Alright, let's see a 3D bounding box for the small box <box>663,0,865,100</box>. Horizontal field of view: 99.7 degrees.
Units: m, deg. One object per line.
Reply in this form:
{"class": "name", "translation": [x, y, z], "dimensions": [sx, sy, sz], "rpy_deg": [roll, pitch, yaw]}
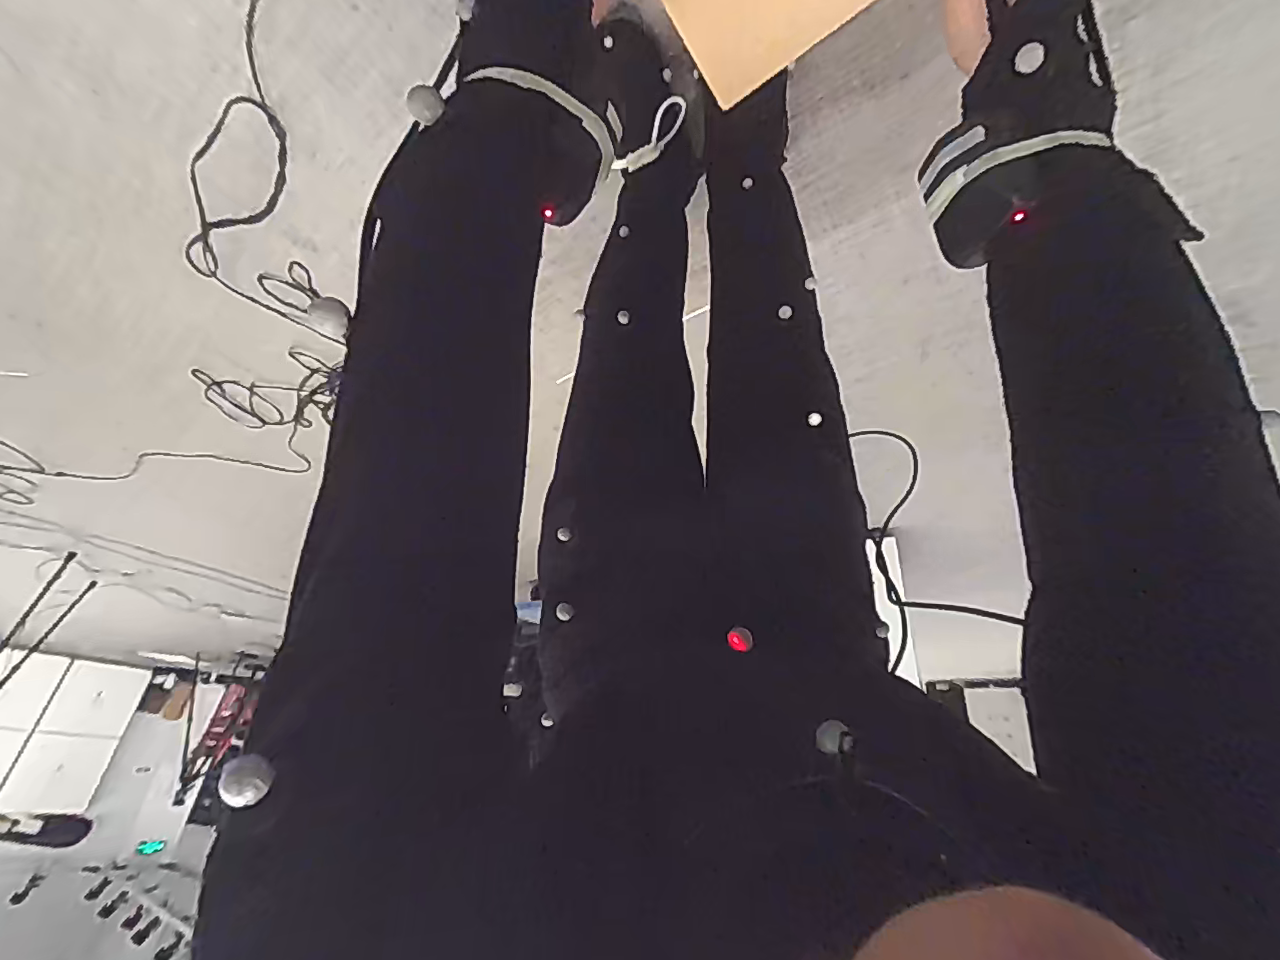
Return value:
{"class": "small box", "translation": [0.078, -0.406, 0.340], "dimensions": [0.168, 0.176, 0.179], "rpy_deg": [-19, 142, 33]}
